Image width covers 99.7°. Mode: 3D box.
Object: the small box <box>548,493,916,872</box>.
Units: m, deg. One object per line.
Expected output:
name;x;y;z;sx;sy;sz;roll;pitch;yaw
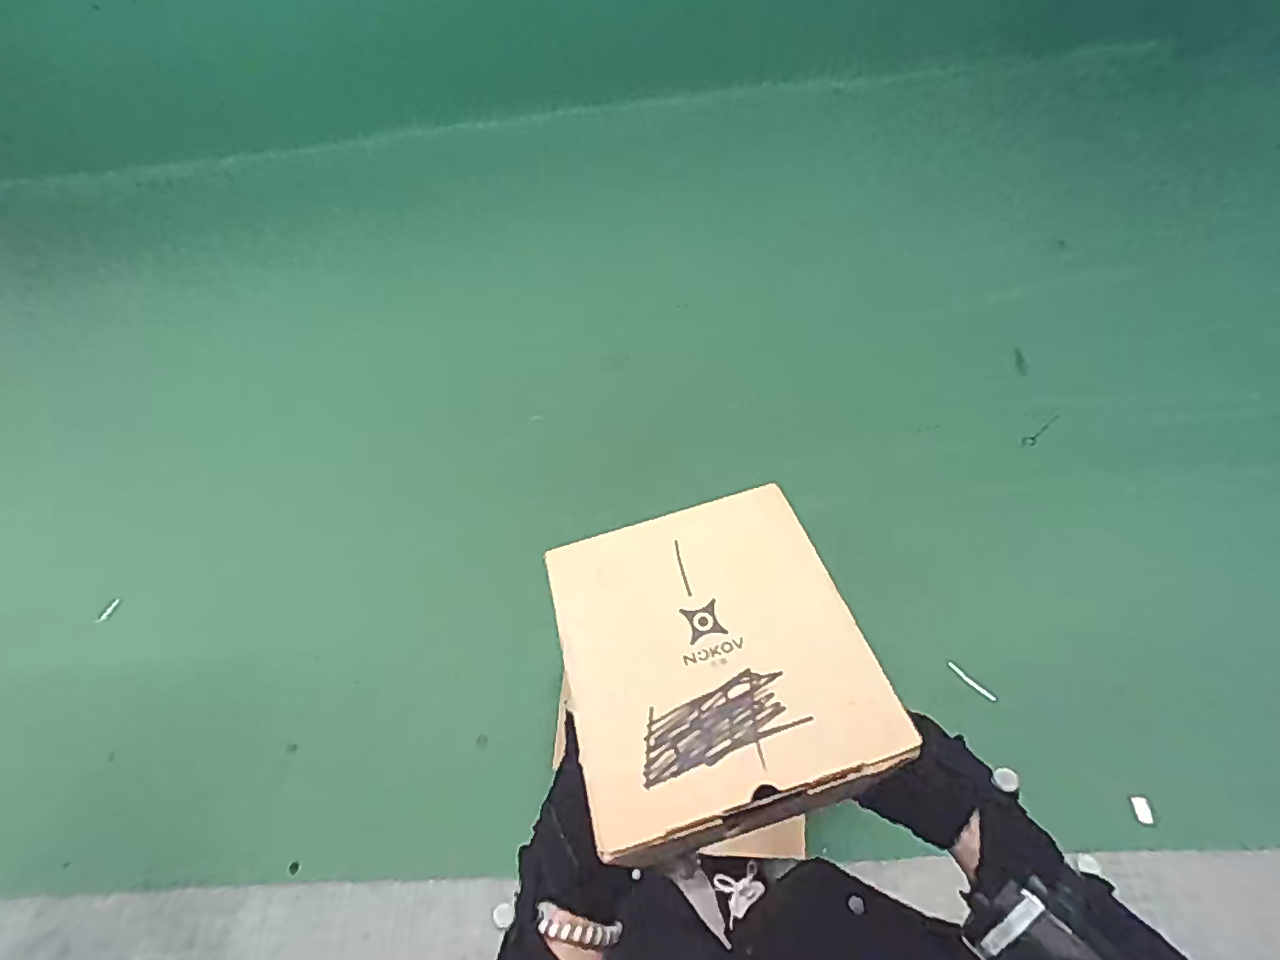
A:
small box;0.048;0.143;0.372;0.168;0.176;0.179;-16;52;-4
